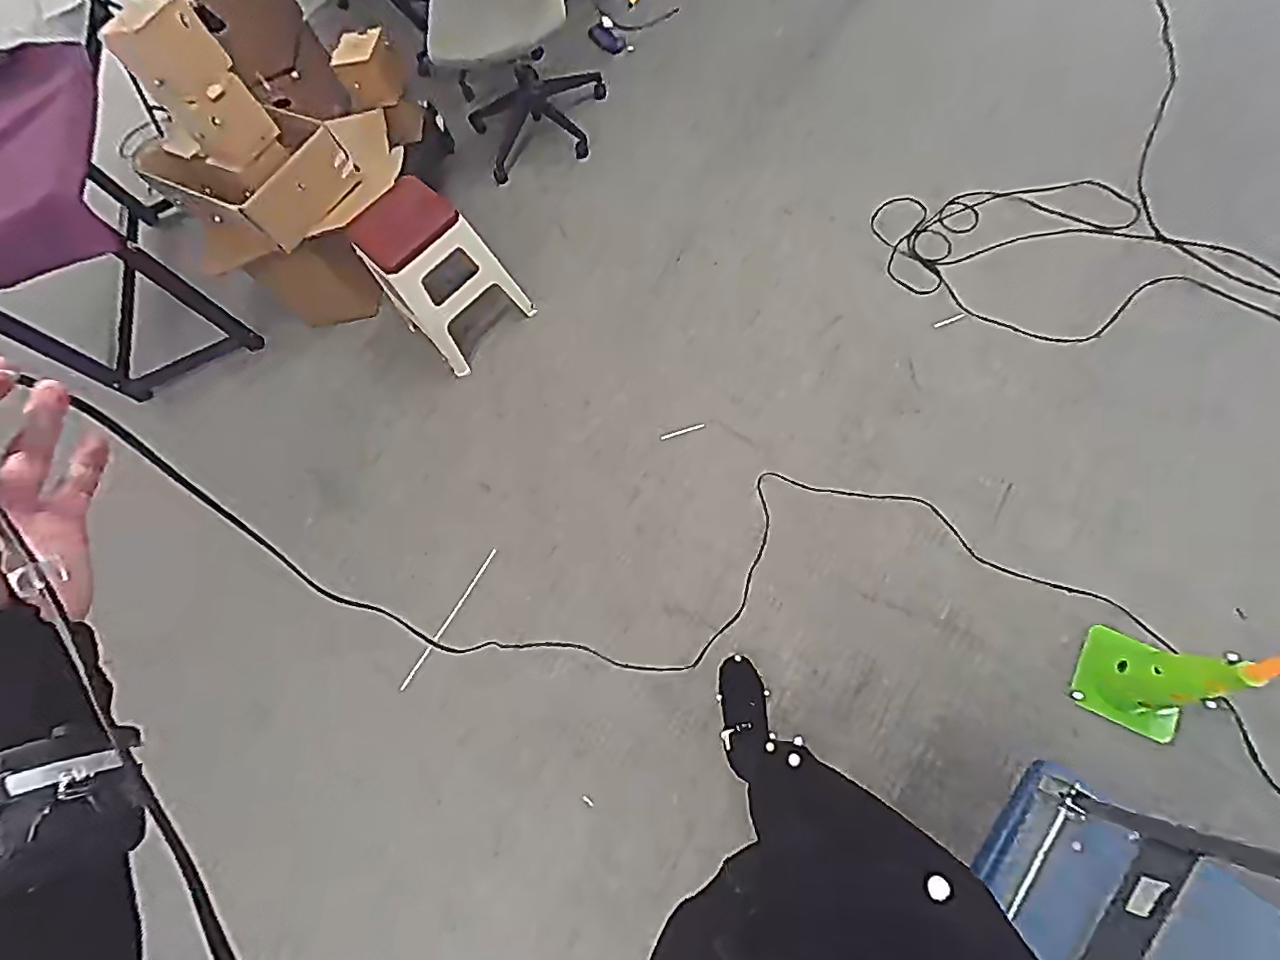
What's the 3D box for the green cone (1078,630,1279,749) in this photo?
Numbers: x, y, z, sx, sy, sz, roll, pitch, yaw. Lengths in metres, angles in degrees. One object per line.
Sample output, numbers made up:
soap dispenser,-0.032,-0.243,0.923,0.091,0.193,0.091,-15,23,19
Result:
green cone,1.087,0.400,1.062,0.200,0.368,0.202,25,74,20
